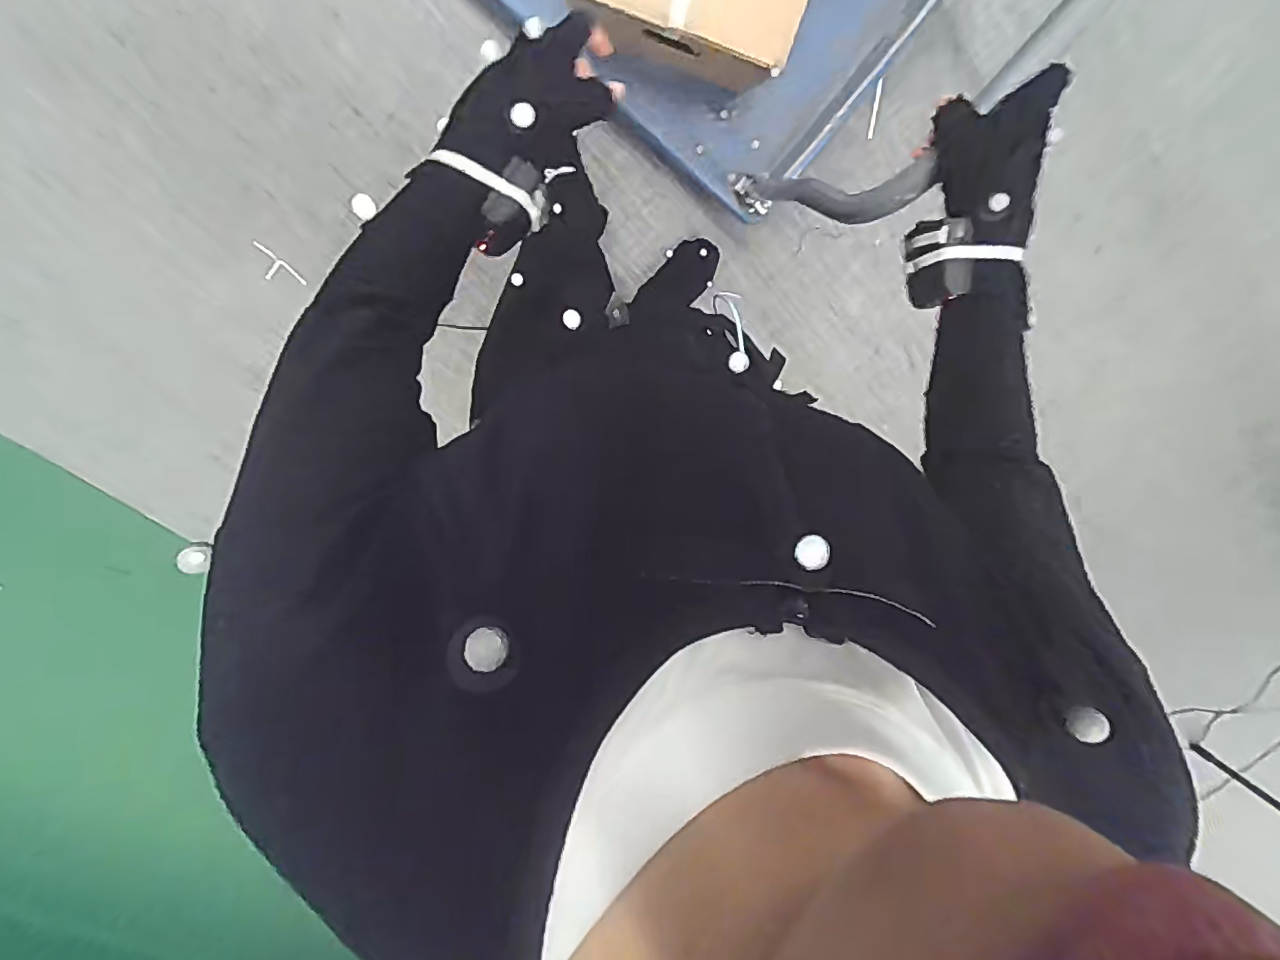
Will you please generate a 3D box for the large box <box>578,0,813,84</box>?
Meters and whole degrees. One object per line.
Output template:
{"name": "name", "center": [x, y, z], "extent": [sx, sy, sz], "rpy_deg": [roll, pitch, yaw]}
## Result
{"name": "large box", "center": [0.107, -0.836, 0.737], "extent": [0.320, 0.320, 0.408], "rpy_deg": [14, 121, -9]}
